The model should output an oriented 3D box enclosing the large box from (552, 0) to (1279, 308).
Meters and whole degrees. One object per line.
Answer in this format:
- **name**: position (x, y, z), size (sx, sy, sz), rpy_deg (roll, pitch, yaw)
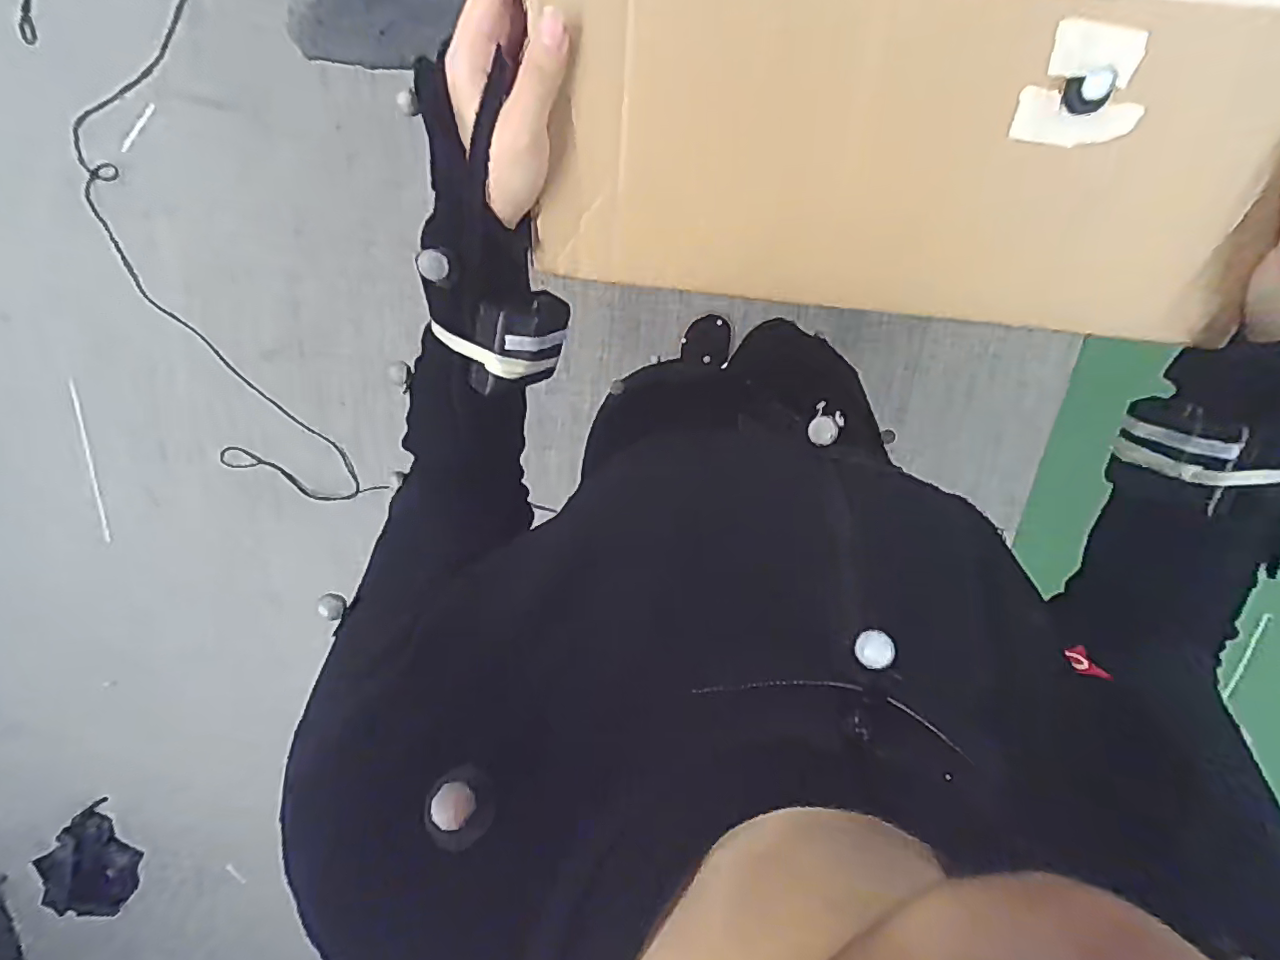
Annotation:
- **large box**: position (0.162, -0.323, 0.377), size (0.408, 0.320, 0.320), rpy_deg (6, 120, 0)
